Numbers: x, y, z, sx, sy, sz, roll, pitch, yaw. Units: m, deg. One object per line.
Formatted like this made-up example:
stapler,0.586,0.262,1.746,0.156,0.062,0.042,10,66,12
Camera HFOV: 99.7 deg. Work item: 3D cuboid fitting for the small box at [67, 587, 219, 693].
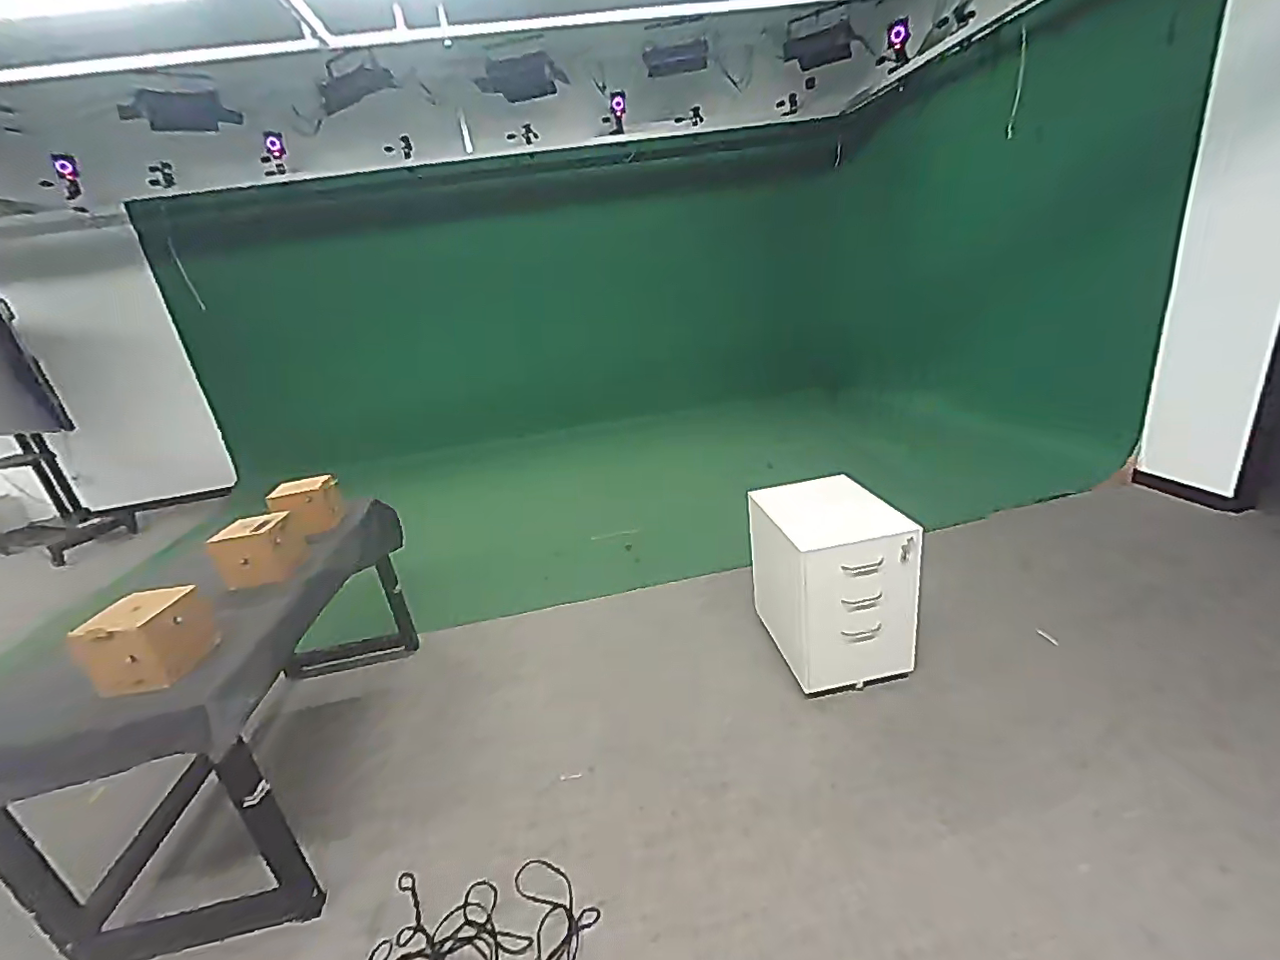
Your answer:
small box,-1.135,0.374,1.255,0.168,0.176,0.179,-7,19,0

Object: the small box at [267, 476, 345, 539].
small box,-1.232,0.104,2.005,0.179,0.176,0.168,-12,21,-10
